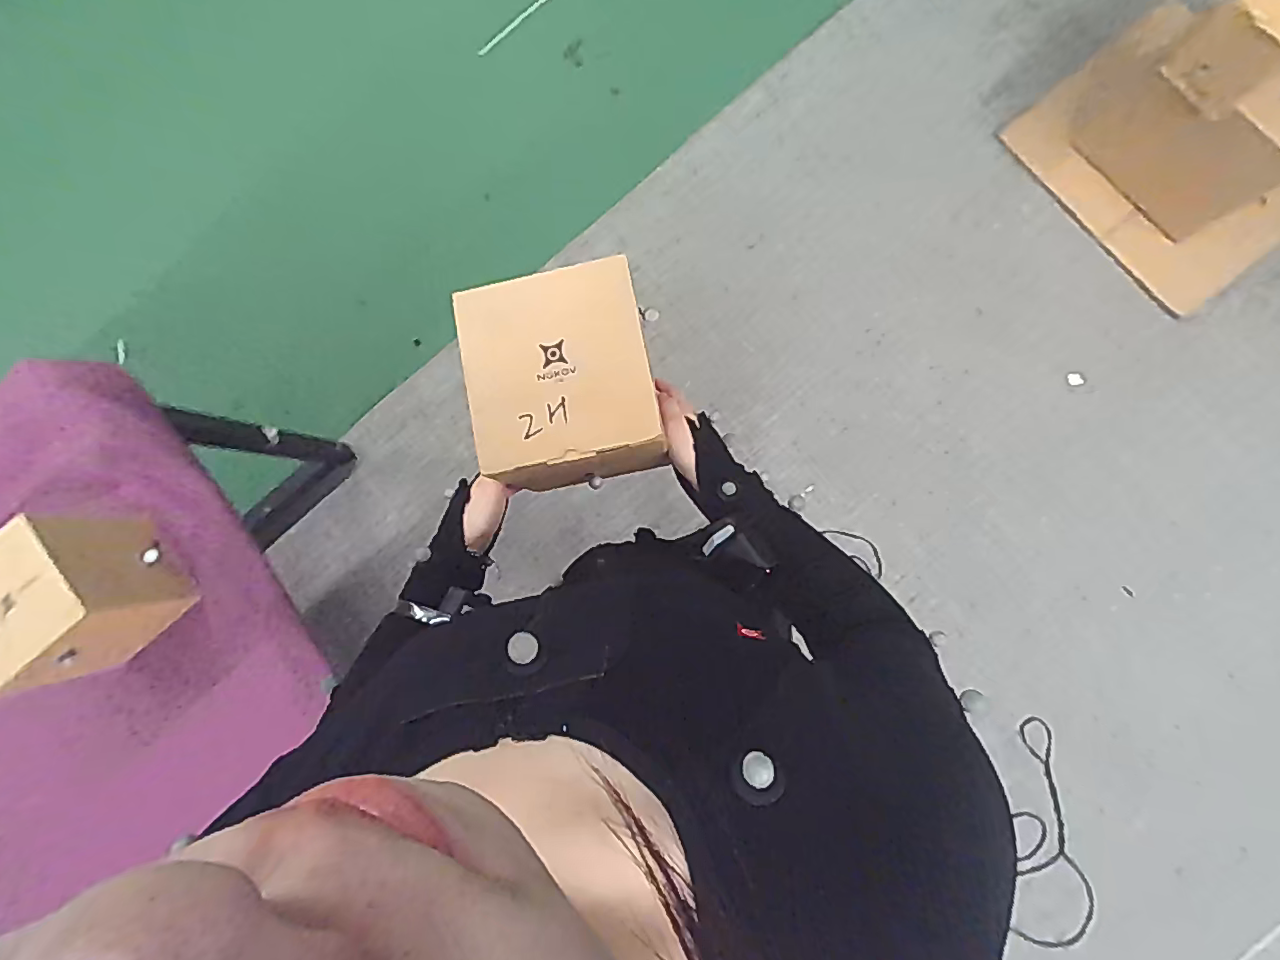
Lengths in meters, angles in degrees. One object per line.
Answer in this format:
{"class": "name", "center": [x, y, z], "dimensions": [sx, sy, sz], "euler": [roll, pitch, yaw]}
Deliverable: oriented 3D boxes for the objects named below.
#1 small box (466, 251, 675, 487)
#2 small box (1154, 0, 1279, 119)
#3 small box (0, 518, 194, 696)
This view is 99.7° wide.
{"class": "small box", "center": [-0.059, -0.098, 0.556], "dimensions": [0.168, 0.176, 0.179], "euler": [-11, 83, 4]}
{"class": "small box", "center": [1.218, -0.890, 1.088], "dimensions": [0.179, 0.176, 0.168], "euler": [-39, 84, 3]}
{"class": "small box", "center": [-0.797, 0.171, 0.758], "dimensions": [0.179, 0.176, 0.168], "euler": [-40, 84, 0]}
